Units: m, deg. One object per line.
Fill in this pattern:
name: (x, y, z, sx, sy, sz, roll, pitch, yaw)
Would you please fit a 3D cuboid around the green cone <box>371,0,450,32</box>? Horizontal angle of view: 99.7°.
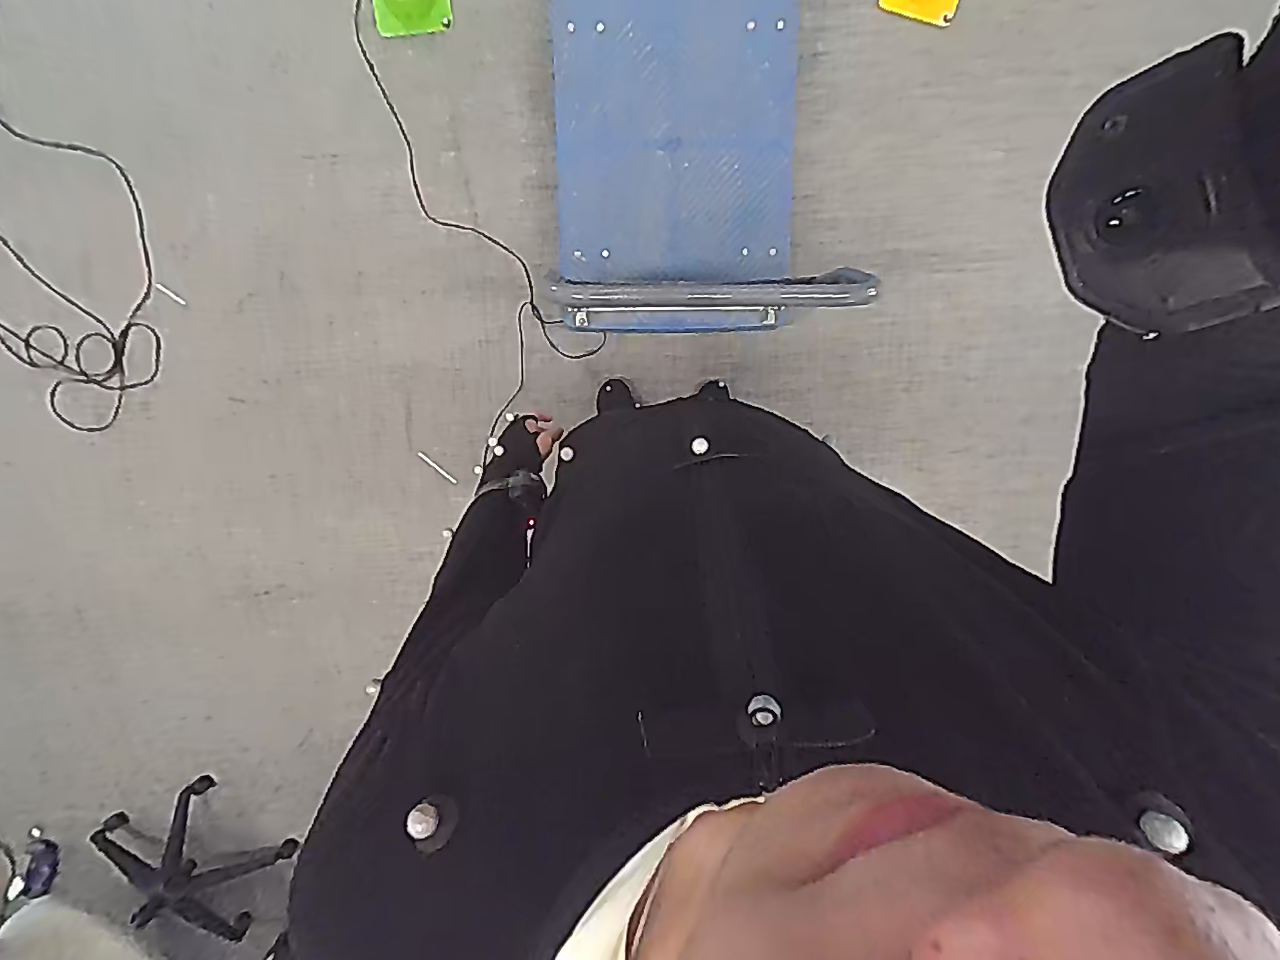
green cone: (-0.598, -1.232, 1.207, 0.202, 0.368, 0.200, -6, 101, 3)
